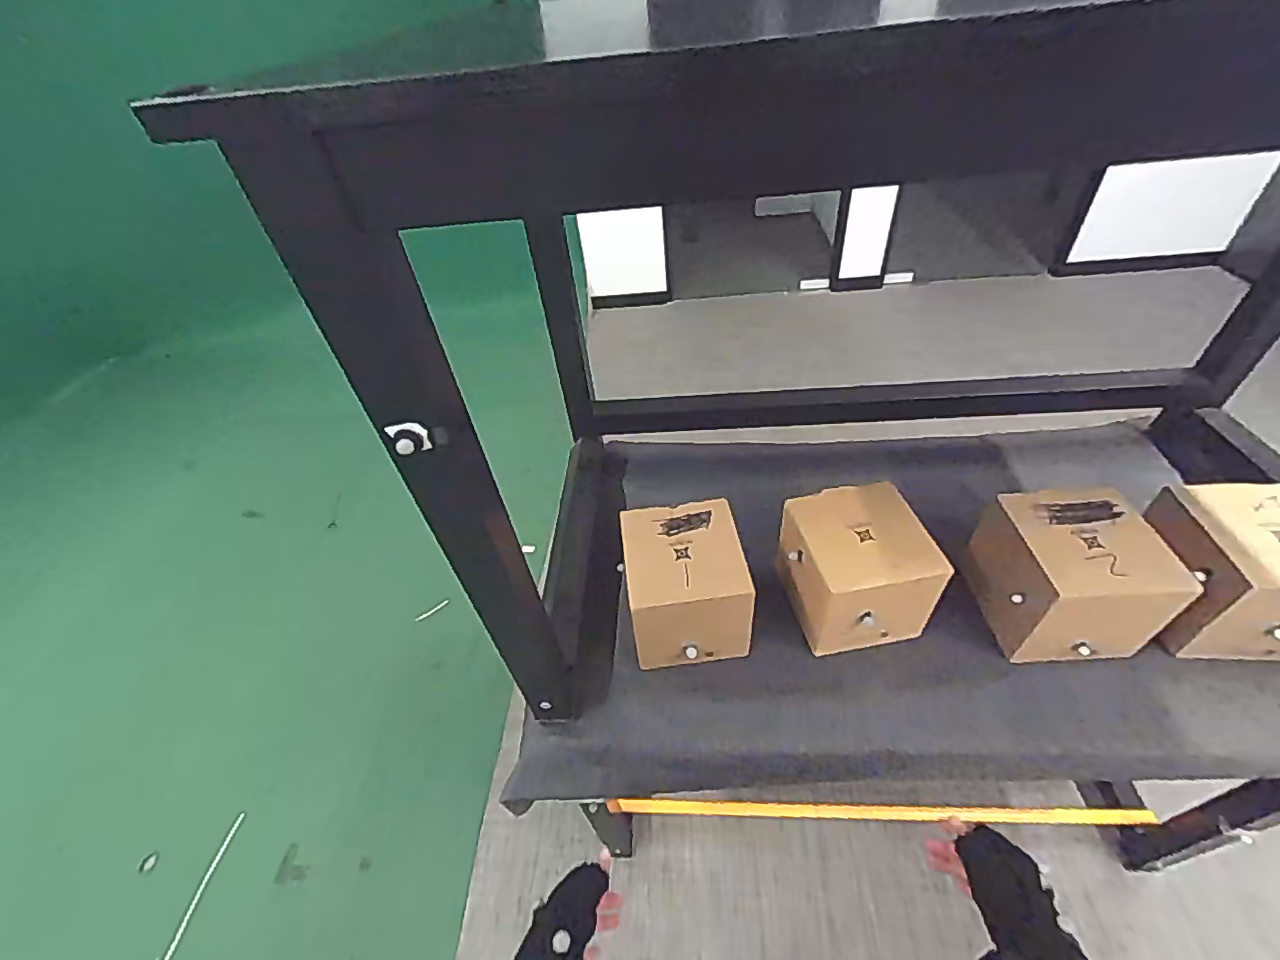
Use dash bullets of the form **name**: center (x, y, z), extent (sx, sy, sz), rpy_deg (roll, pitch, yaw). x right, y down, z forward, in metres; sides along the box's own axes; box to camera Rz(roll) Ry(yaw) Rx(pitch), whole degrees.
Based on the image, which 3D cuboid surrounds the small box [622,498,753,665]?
- **small box**: center (0.065, 0.153, 0.814), extent (0.168, 0.176, 0.179), rpy_deg (-8, 44, 0)
